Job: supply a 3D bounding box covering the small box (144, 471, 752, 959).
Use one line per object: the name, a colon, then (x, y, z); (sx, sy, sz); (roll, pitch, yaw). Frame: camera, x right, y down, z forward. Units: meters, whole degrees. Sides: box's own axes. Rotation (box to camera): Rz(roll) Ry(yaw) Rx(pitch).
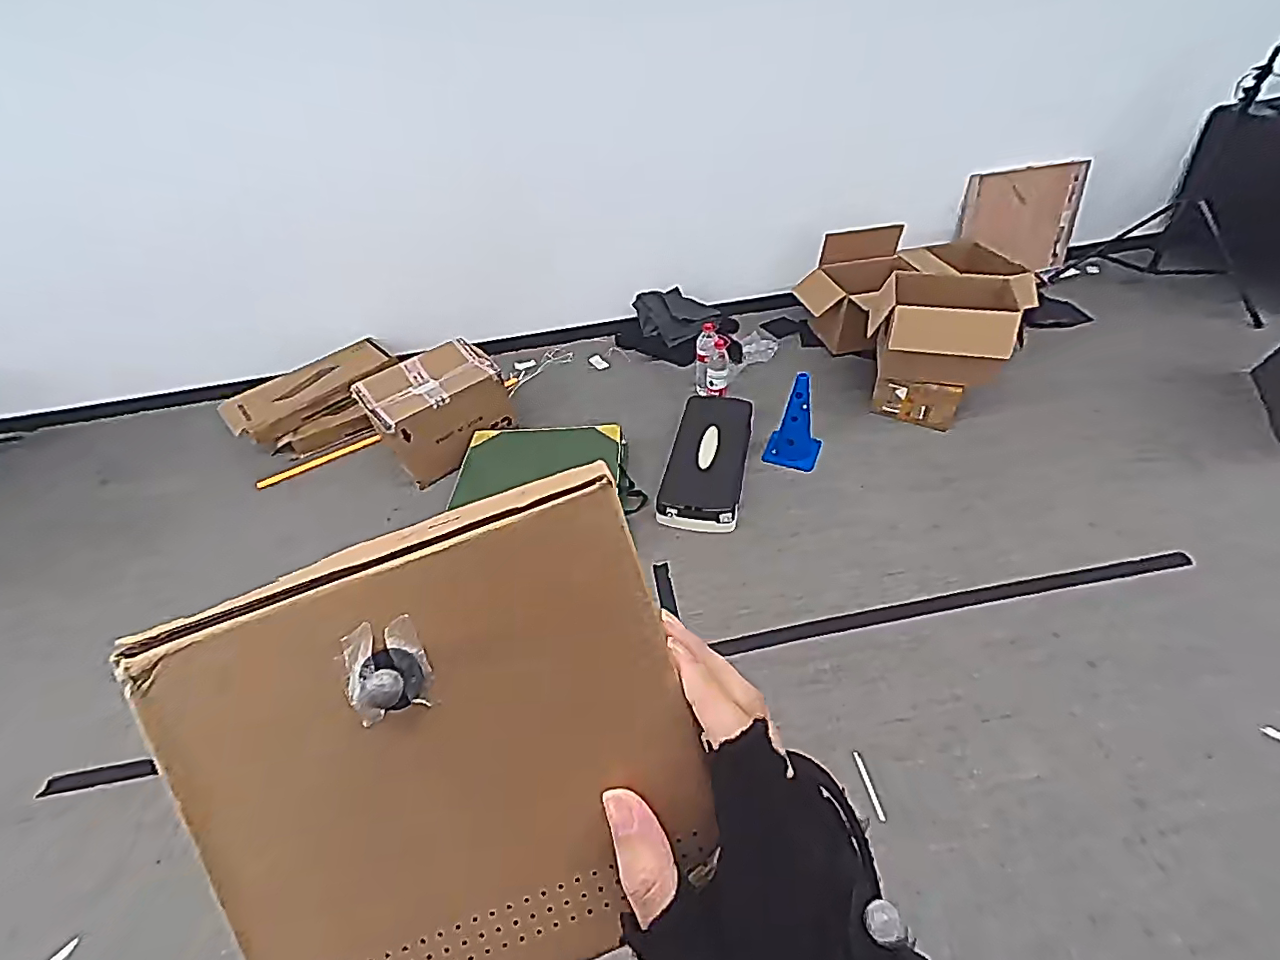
small box: (-0.067, 0.105, 0.271); (0.179, 0.176, 0.168); (-19, 5, -3)
